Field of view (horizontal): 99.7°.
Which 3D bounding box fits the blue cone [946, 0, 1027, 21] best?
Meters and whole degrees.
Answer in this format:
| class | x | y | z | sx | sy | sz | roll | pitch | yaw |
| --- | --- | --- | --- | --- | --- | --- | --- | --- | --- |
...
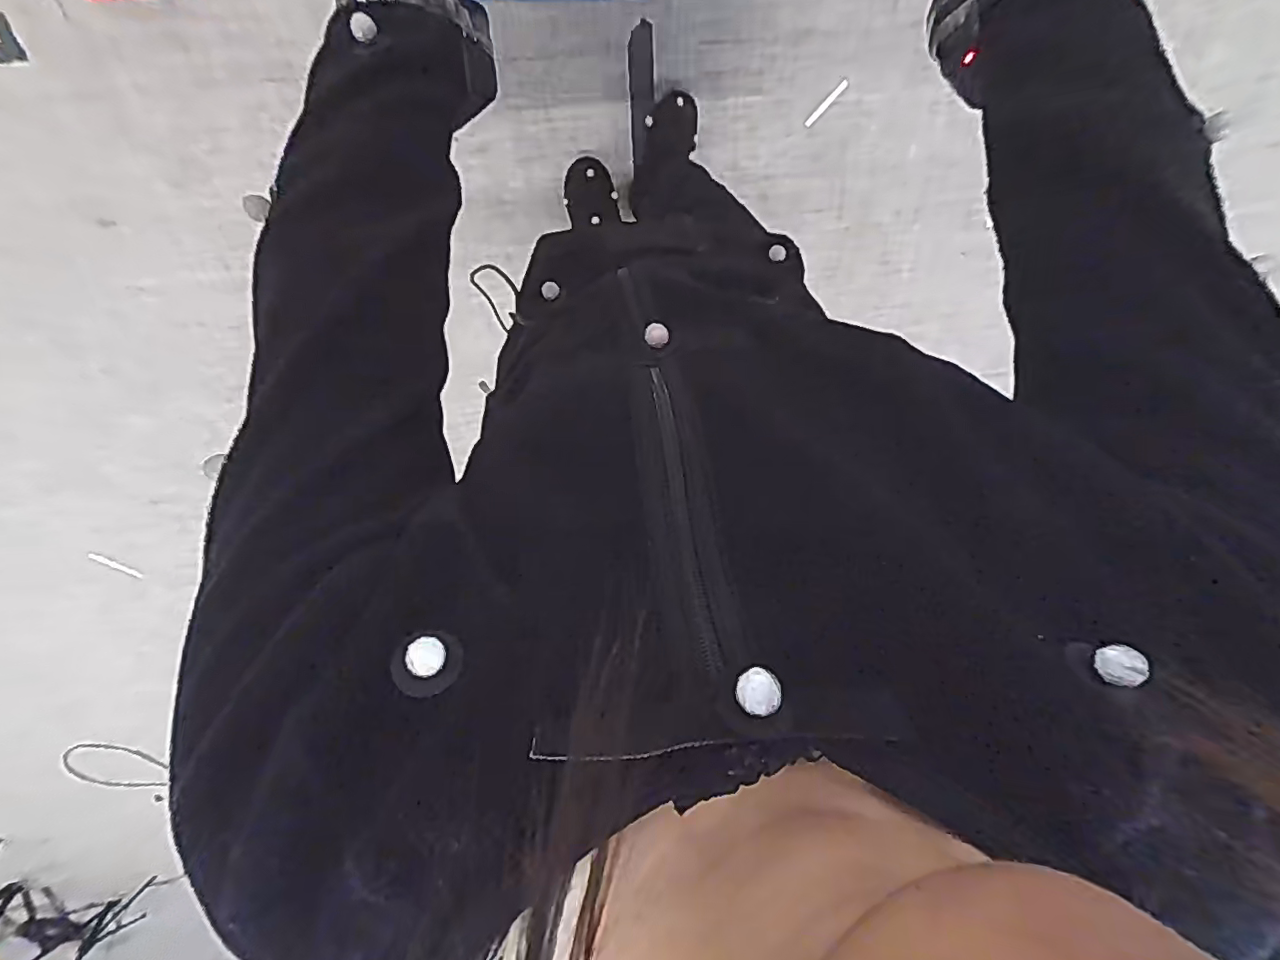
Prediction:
| class | x | y | z | sx | sy | sz | roll | pitch | yaw |
| --- | --- | --- | --- | --- | --- | --- | --- | --- | --- |
| blue cone | 0.695 | -0.907 | 0.884 | 0.193 | 0.380 | 0.192 | -10 | 124 | -2 |
